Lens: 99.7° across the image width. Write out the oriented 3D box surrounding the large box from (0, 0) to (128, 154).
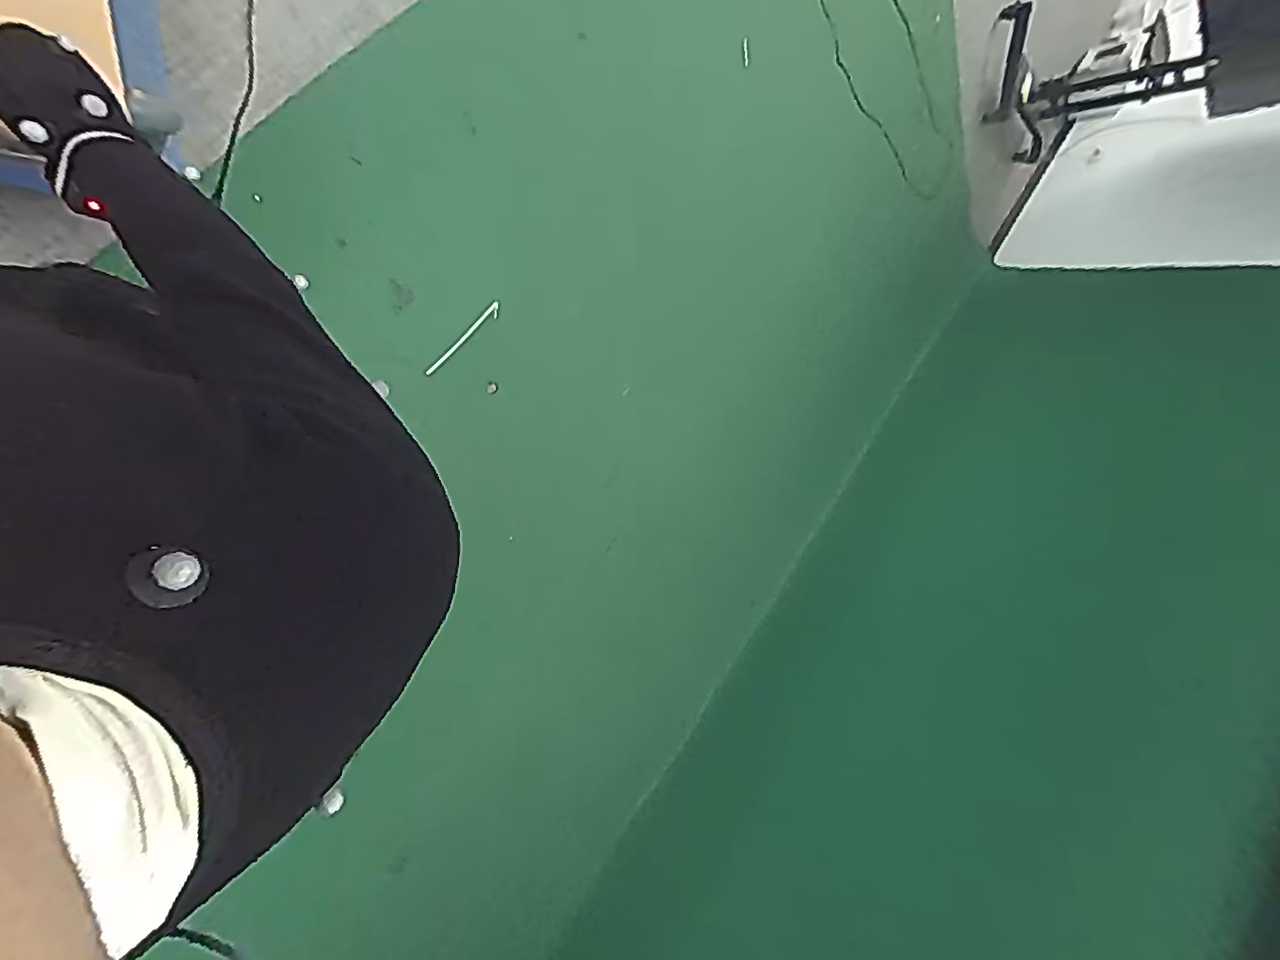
[{"bbox_3d":[-0.955,-0.725,0.738,0.320,0.320,0.408,-12,112,-41],"label":"large box"}]
